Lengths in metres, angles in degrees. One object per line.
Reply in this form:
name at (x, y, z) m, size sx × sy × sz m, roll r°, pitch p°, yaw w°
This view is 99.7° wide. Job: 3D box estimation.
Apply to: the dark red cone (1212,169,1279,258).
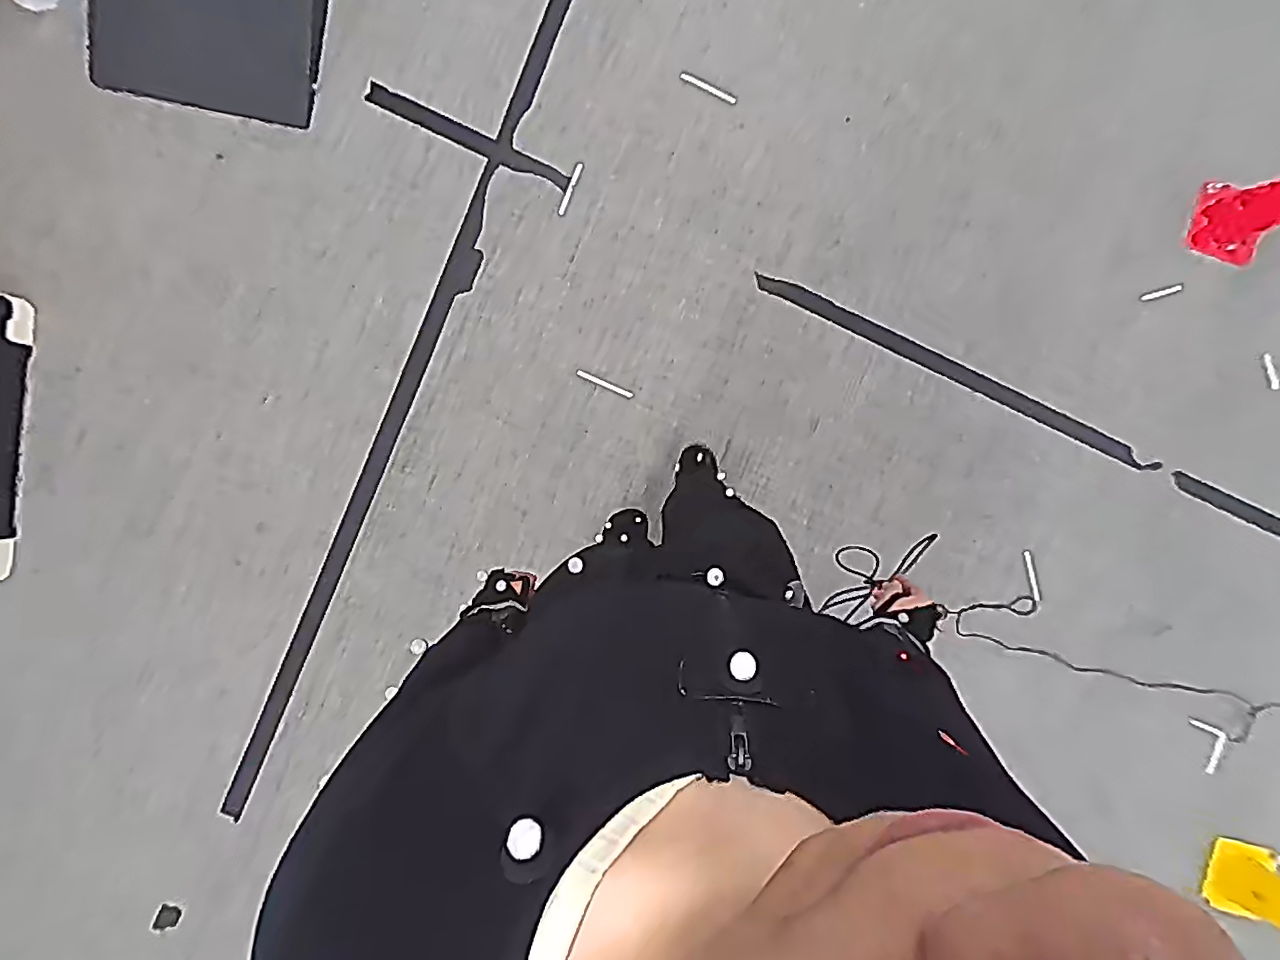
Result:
dark red cone at (1.641, -0.701, 1.274) m, size 0.202 × 0.394 × 0.201 m, roll 15°, pitch 91°, yaw -5°
